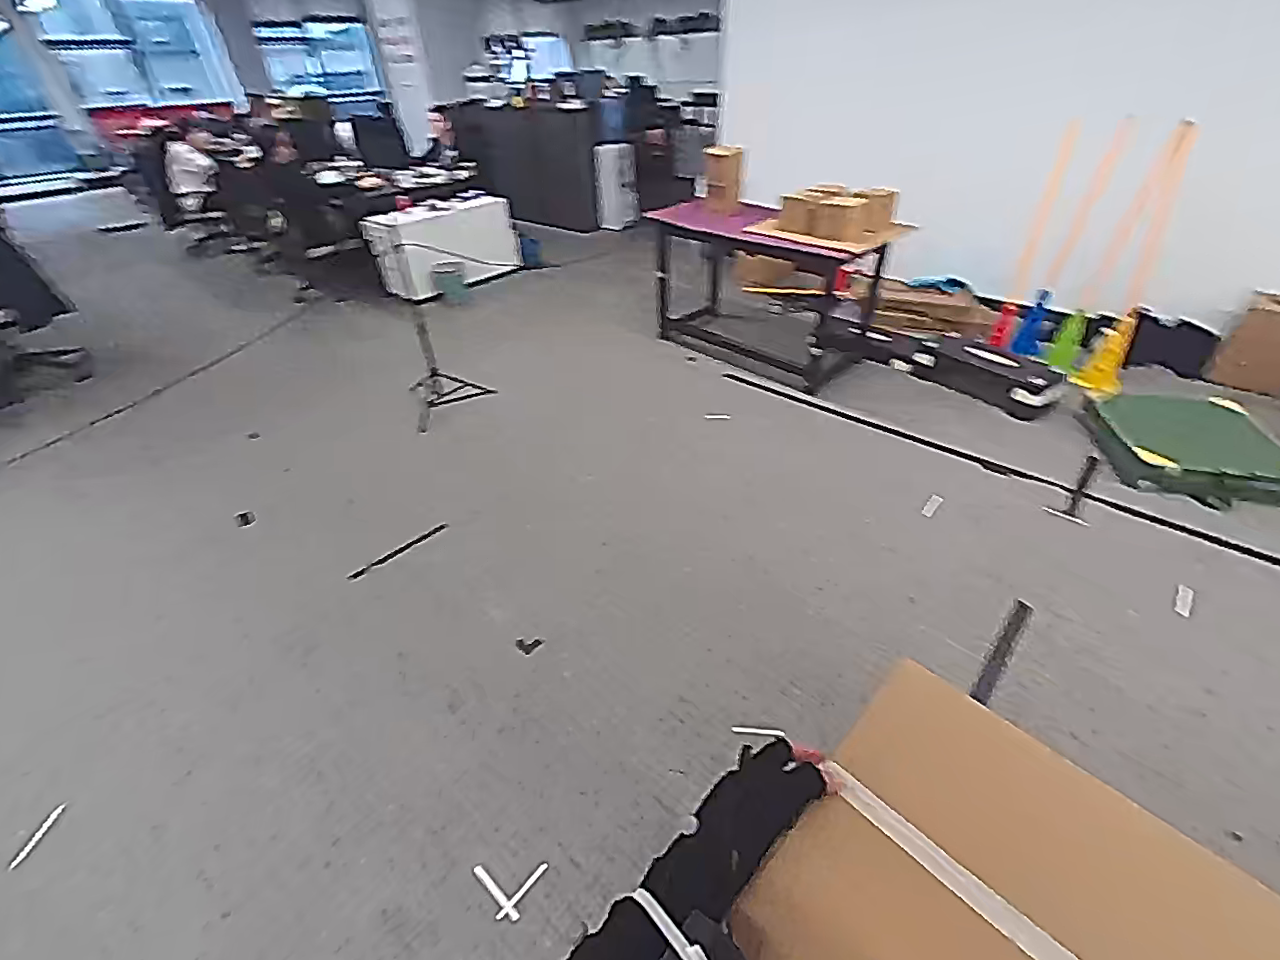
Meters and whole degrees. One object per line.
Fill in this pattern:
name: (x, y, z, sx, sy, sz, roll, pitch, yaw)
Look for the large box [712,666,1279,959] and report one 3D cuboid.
large box: (0.317, 0.467, 0.494, 0.408, 0.320, 0.320, 33, 54, 32)
